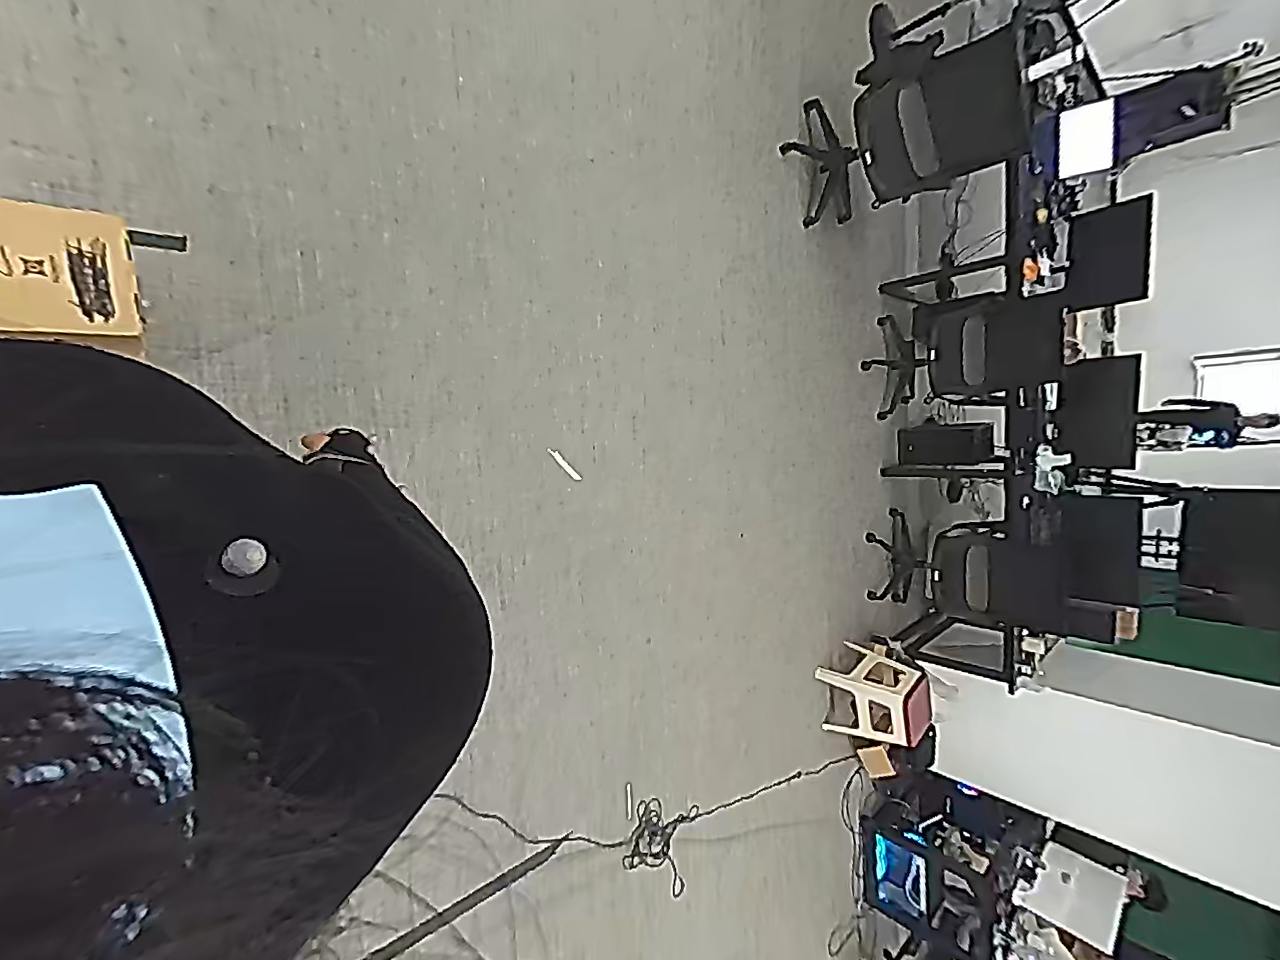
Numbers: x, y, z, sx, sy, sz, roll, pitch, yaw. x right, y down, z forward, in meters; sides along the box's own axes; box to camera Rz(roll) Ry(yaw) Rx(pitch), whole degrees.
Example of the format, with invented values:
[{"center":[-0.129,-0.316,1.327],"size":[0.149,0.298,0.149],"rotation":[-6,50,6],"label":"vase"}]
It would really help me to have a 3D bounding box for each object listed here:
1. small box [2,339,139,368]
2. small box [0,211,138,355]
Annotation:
[{"center":[-1.050,-0.303,0.998],"size":[0.168,0.176,0.179],"rotation":[-10,98,-42],"label":"small box"},{"center":[-0.938,-0.308,0.879],"size":[0.168,0.176,0.179],"rotation":[-6,97,-42],"label":"small box"}]
